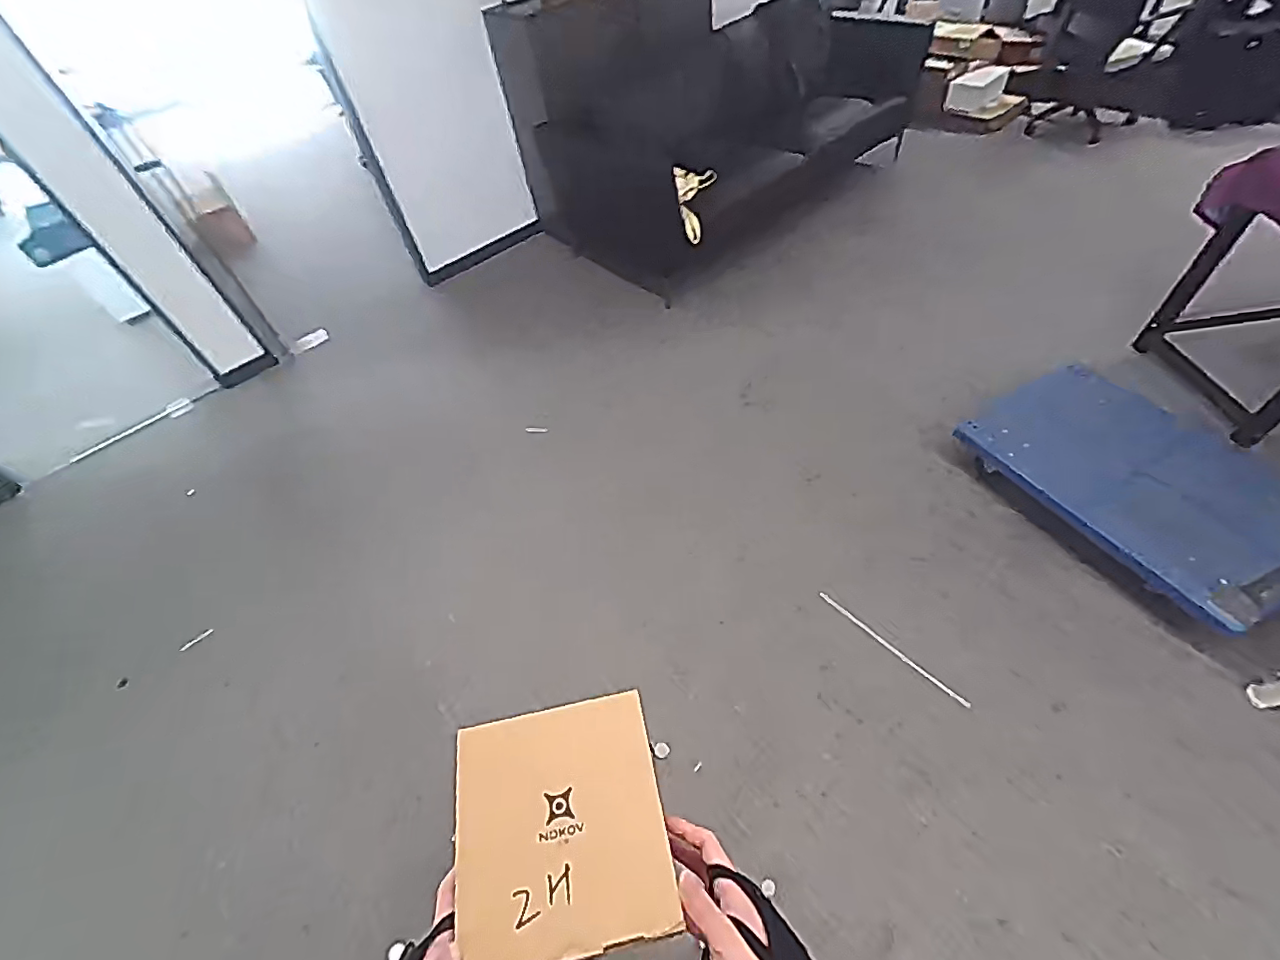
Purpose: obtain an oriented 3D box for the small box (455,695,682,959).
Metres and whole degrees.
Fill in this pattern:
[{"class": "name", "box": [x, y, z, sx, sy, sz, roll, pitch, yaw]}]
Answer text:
[{"class": "small box", "box": [-0.061, 0.327, 0.500, 0.168, 0.176, 0.179, -9, 50, -5]}]
